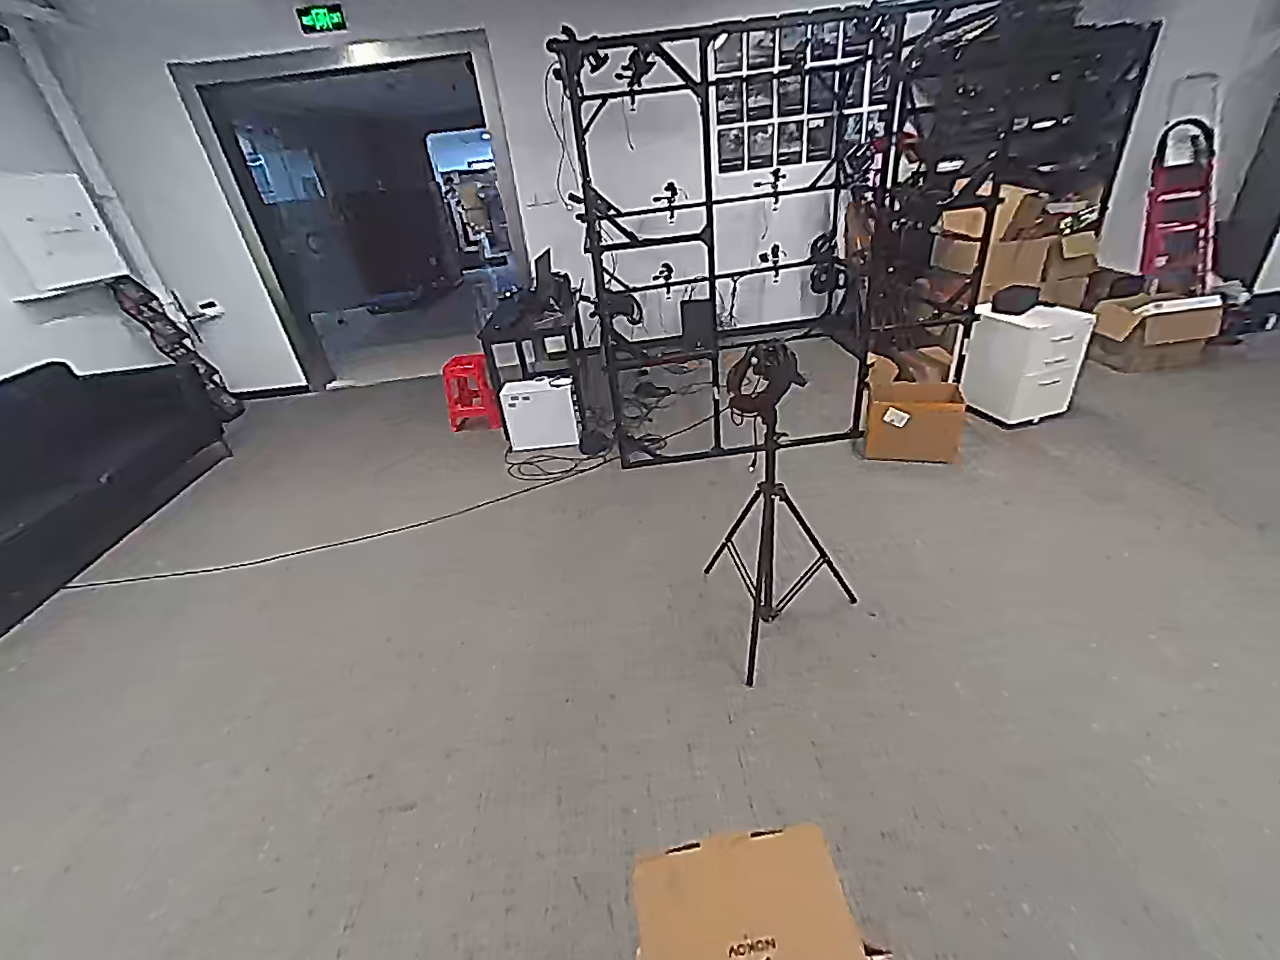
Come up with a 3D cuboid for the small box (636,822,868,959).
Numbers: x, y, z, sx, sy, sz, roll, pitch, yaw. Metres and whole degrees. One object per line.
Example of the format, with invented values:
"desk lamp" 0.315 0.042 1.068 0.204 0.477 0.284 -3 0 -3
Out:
"small box" 0.088 0.419 0.443 0.168 0.176 0.179 -7 39 -5
